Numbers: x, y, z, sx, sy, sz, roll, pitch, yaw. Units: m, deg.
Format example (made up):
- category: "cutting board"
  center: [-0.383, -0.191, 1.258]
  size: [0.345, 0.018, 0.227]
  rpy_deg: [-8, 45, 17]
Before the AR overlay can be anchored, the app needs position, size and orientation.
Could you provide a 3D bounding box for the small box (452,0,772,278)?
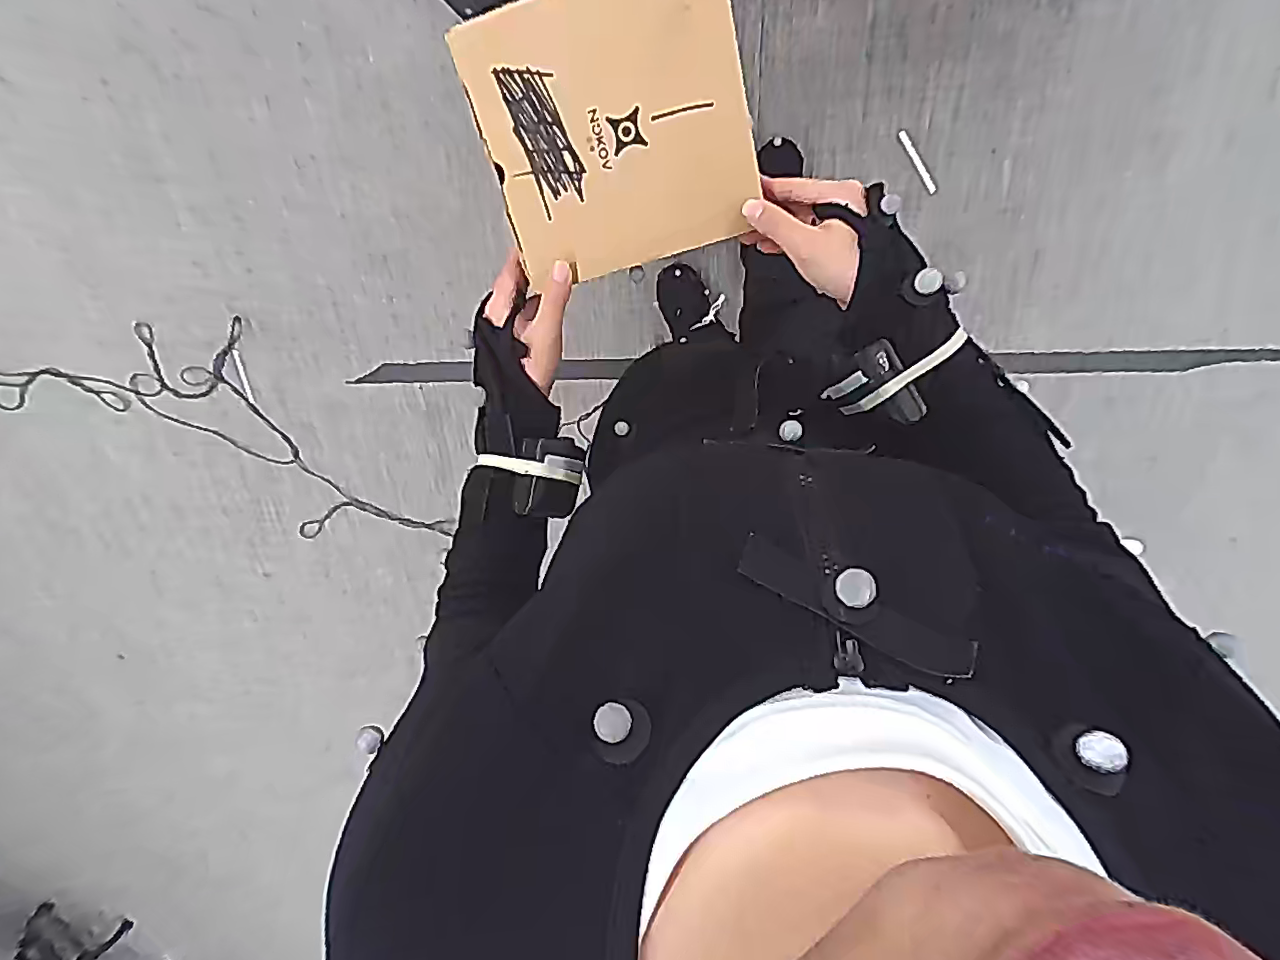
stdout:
- category: "small box"
  center: [-0.008, -0.266, 0.419]
  size: [0.179, 0.176, 0.168]
  rpy_deg: [-13, 114, 9]
